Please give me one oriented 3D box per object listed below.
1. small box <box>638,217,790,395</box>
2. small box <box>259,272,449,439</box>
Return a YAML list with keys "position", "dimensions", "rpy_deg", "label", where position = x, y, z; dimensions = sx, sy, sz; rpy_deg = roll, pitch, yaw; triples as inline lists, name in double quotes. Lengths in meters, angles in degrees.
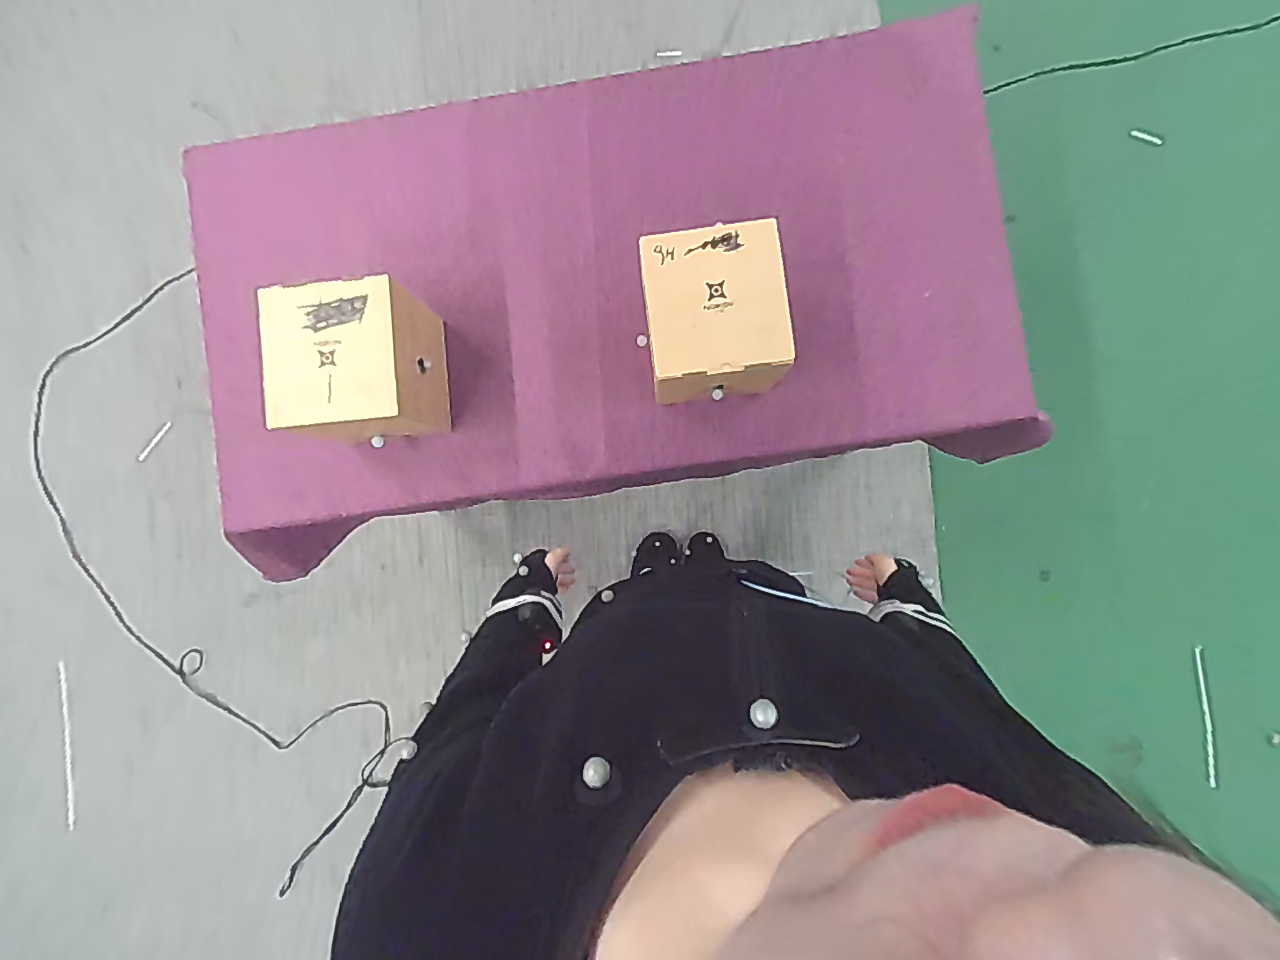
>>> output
- position: [0.091, -0.214, 0.715]
  dimensions: [0.168, 0.176, 0.179]
  rpy_deg: [-7, 88, 2]
  label: "small box"
- position: [-0.372, -0.157, 0.730]
  dimensions: [0.168, 0.176, 0.179]
  rpy_deg: [-5, 89, 2]
  label: "small box"
